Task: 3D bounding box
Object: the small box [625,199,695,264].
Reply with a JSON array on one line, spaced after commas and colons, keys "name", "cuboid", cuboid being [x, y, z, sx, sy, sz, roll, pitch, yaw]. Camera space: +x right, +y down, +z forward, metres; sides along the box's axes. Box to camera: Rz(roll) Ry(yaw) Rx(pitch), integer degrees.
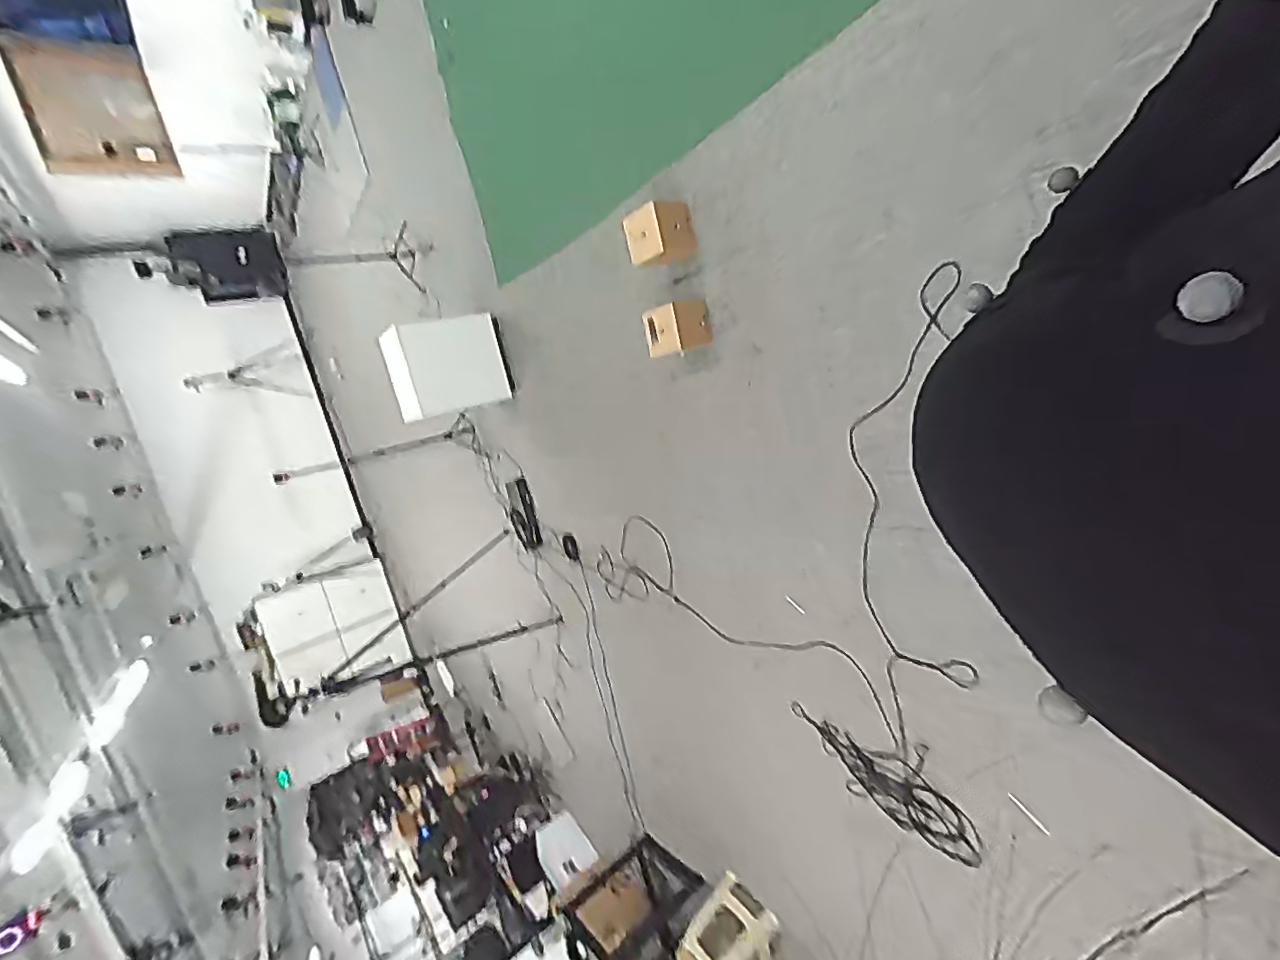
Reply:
[{"name": "small box", "cuboid": [0.078, -0.884, 1.924, 0.179, 0.176, 0.168, -2, 105, 53]}]
